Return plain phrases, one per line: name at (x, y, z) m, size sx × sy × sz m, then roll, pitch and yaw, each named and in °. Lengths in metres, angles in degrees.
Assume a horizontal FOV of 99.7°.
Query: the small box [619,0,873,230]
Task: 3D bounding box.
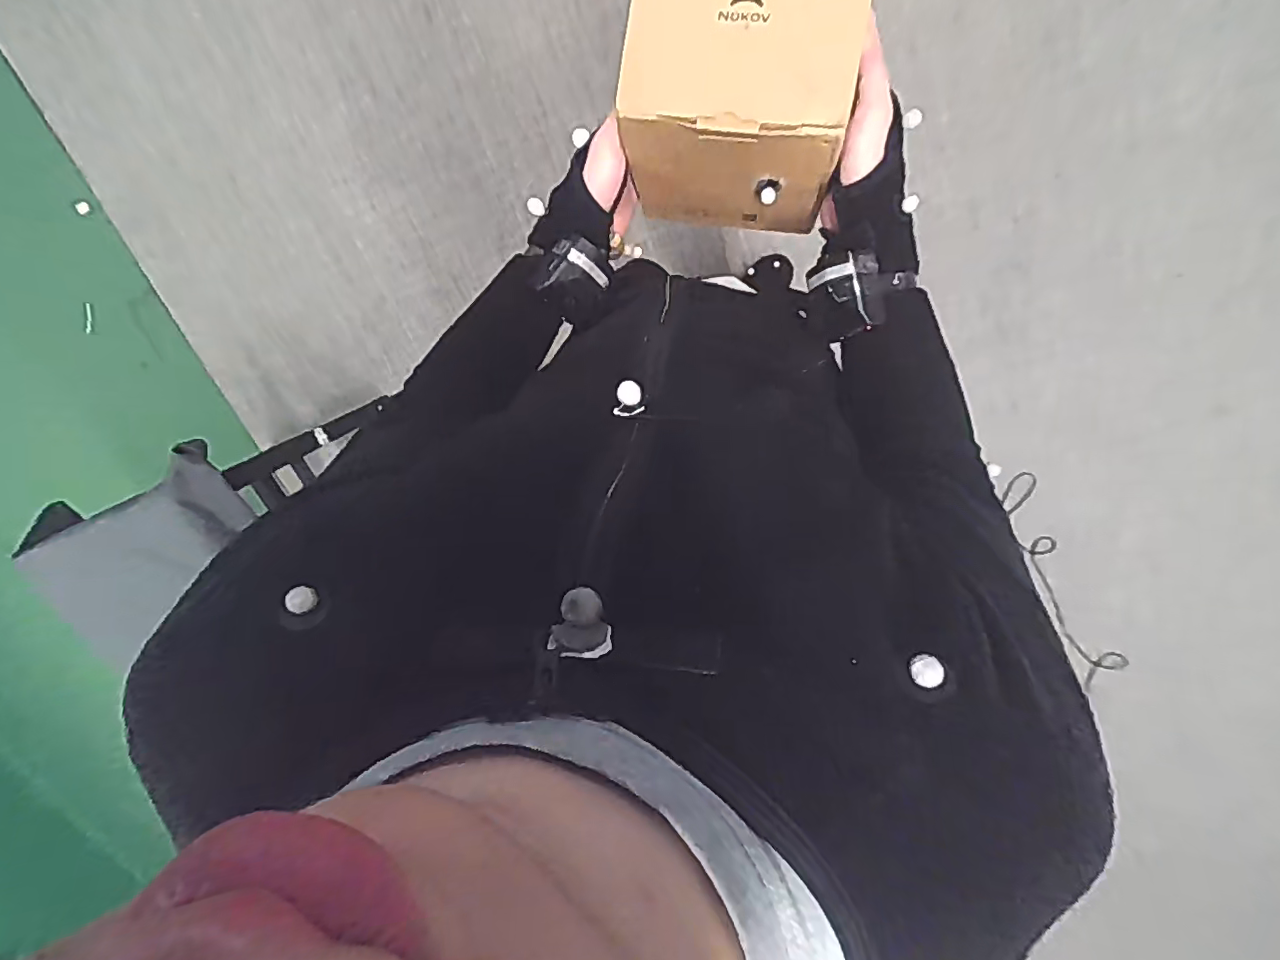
small box at (0.088, -0.335, 0.453) m, size 0.168 × 0.176 × 0.179 m, roll 9°, pitch 91°, yaw 7°
